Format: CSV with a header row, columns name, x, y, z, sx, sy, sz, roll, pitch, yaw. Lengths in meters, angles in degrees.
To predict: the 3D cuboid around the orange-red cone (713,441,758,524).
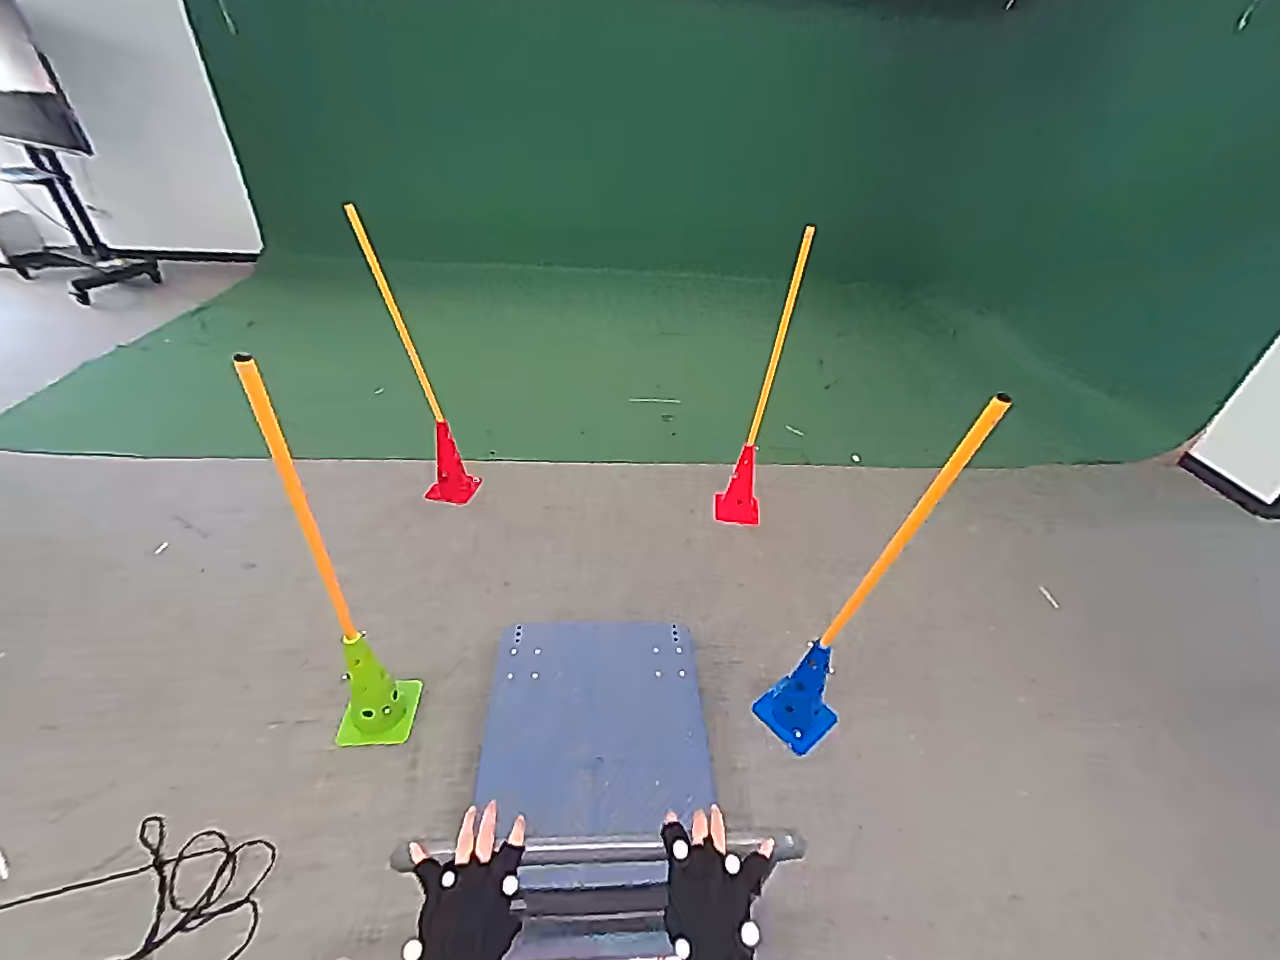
name,x,y,z,sx,sy,sz,roll,pitch,yaw
orange-red cone,0.442,-0.008,2.354,0.198,0.360,0.199,7,37,5
